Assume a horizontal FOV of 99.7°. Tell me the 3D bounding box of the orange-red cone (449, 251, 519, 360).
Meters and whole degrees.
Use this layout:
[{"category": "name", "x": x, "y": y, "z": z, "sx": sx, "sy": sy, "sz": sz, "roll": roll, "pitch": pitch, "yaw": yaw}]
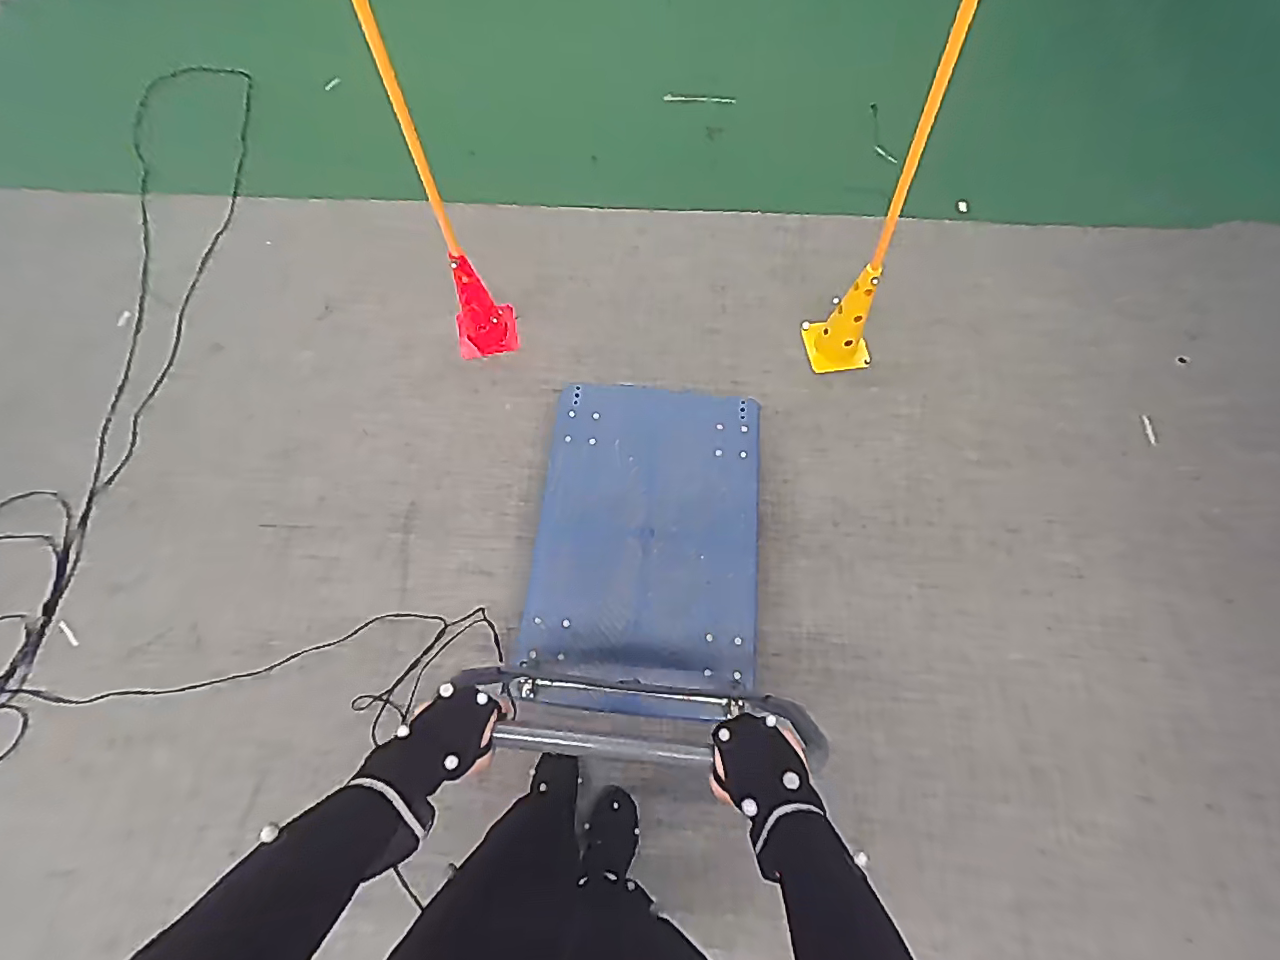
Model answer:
[{"category": "orange-red cone", "x": -0.525, "y": -0.570, "z": 1.703, "sx": 0.199, "sy": 0.360, "sz": 0.198, "roll": -11, "pitch": 67, "yaw": -2}]
